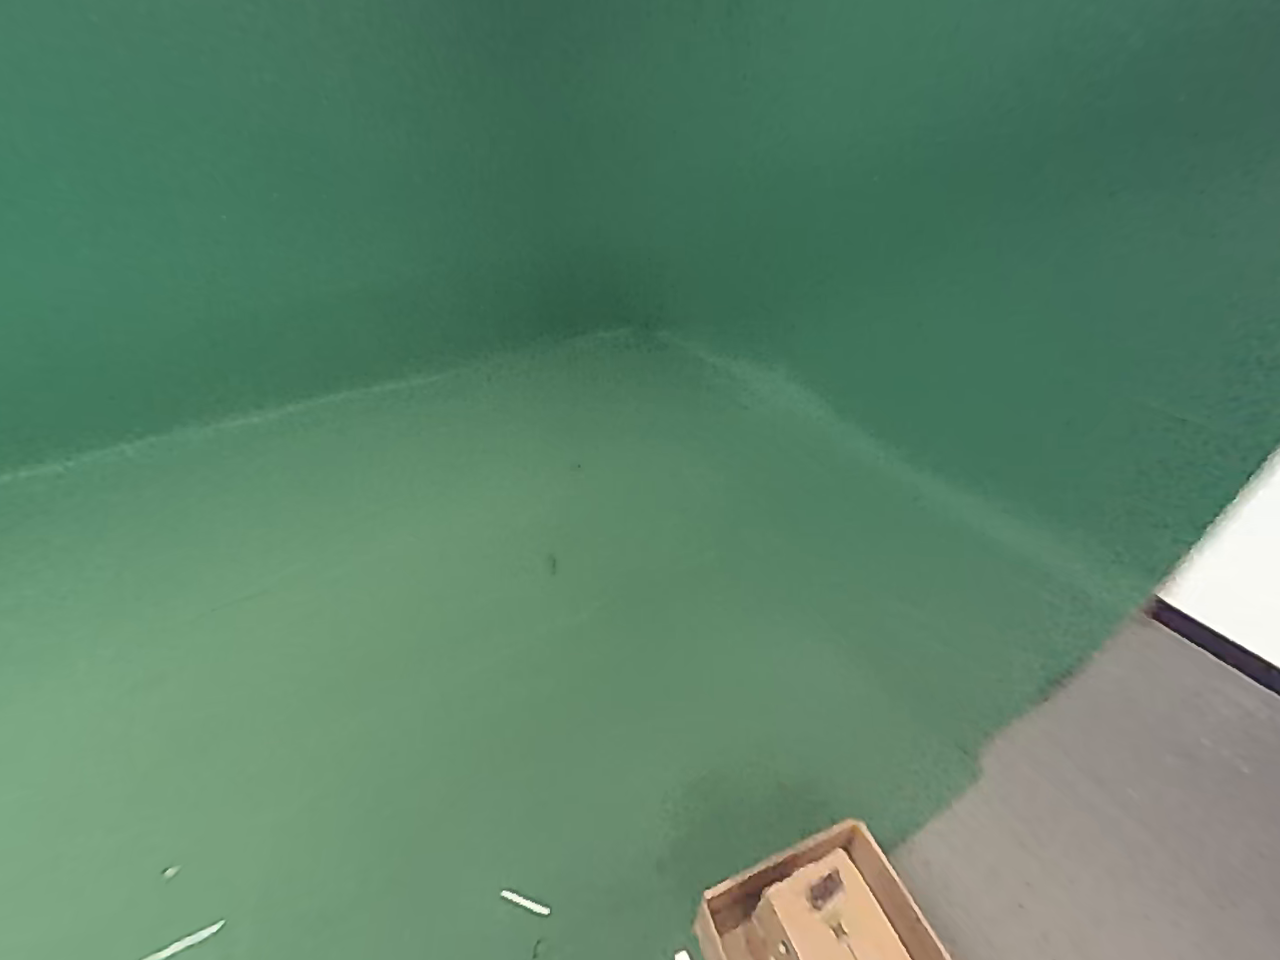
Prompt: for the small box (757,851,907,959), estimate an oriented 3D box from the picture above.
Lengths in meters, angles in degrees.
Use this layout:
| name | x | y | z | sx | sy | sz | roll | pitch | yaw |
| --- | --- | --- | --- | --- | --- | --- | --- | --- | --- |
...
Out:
| name | x | y | z | sx | sy | sz | roll | pitch | yaw |
| --- | --- | --- | --- | --- | --- | --- | --- | --- | --- |
| small box | 0.323 | 0.806 | 0.949 | 0.168 | 0.176 | 0.179 | -15 | 42 | -17 |
